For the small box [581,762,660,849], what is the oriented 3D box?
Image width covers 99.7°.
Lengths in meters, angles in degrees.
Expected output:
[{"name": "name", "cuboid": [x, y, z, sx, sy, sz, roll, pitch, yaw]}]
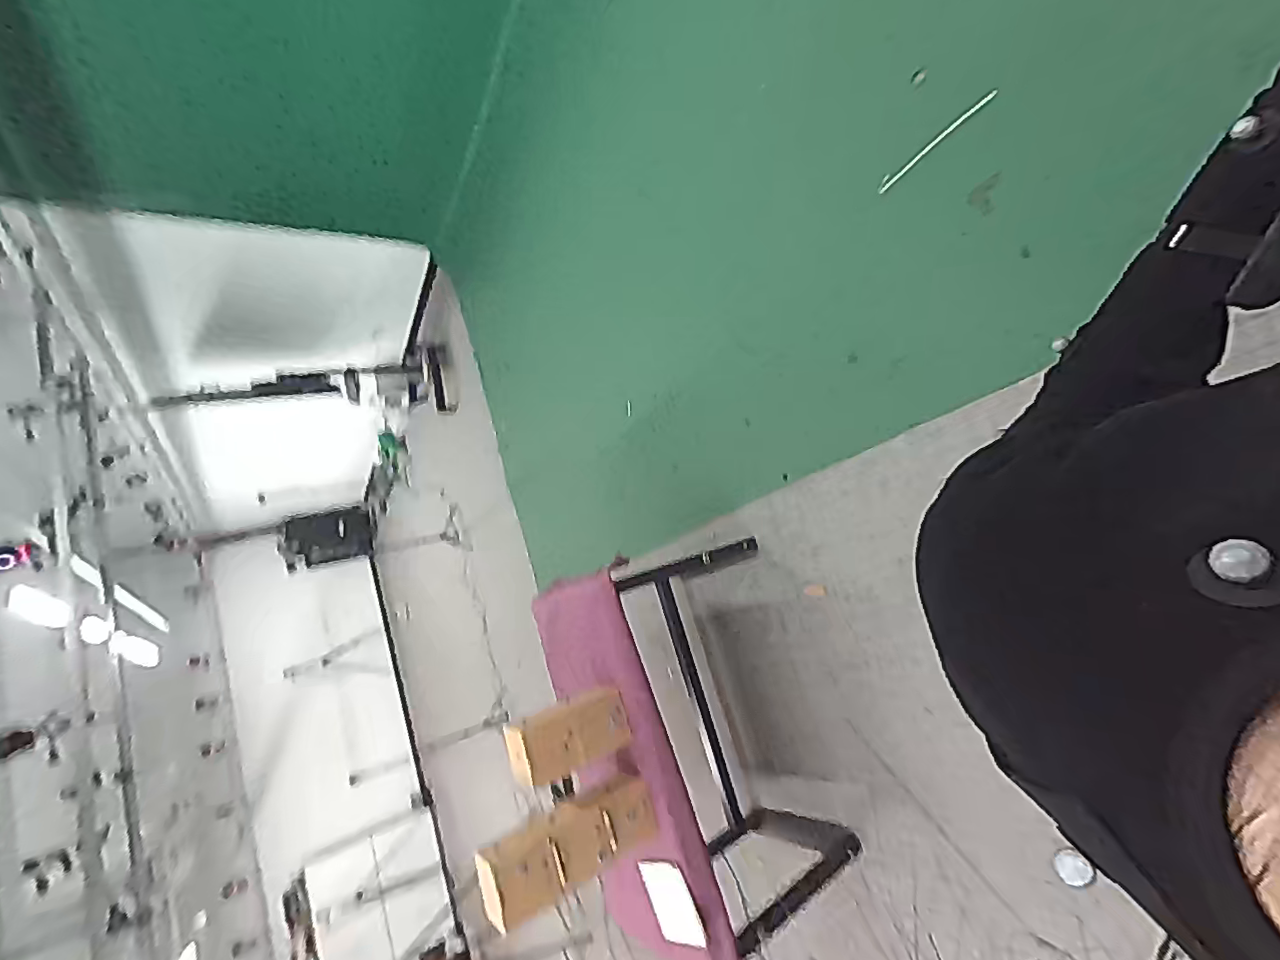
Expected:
[{"name": "small box", "cuboid": [-0.054, 1.003, 1.684, 0.179, 0.176, 0.168, -31, 73, 53]}]

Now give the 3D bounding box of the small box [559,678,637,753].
[{"name": "small box", "cuboid": [-0.135, 0.744, 1.727, 0.179, 0.176, 0.168, -31, 74, 55]}]

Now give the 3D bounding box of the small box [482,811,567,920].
[{"name": "small box", "cuboid": [-0.315, 1.050, 1.491, 0.179, 0.176, 0.168, -30, 74, 55]}]

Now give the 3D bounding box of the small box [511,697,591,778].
[{"name": "small box", "cuboid": [-0.270, 0.773, 1.641, 0.179, 0.176, 0.168, -31, 73, 55]}]

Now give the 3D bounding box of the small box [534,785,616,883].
[{"name": "small box", "cuboid": [-0.185, 1.027, 1.586, 0.179, 0.176, 0.168, -31, 73, 55]}]
